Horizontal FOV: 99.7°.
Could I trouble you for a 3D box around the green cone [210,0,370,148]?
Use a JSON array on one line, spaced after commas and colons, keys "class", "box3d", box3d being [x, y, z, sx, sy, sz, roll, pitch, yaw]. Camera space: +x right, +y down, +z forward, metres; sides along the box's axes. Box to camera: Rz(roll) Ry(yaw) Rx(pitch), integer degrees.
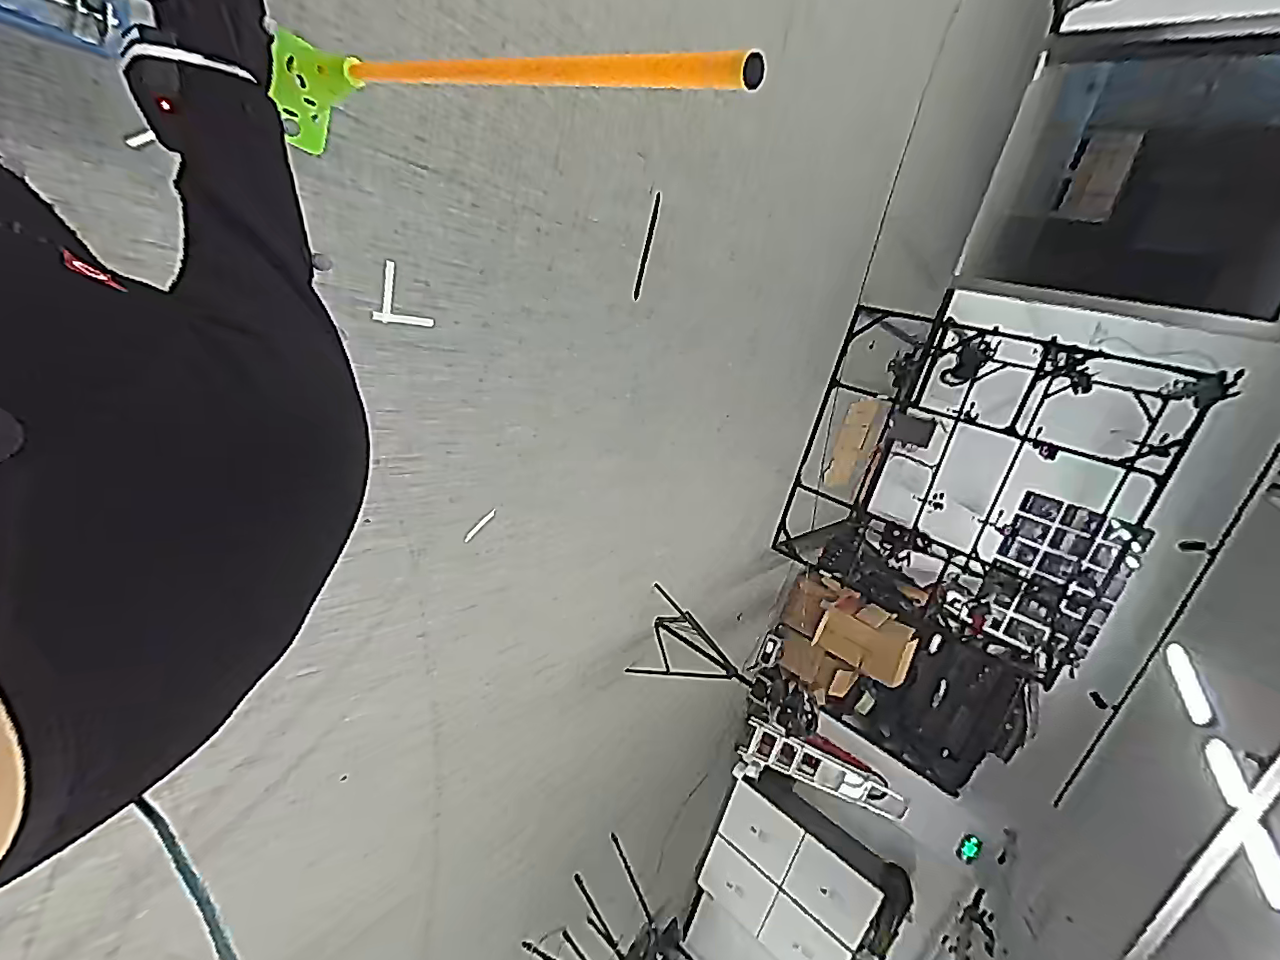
[{"class": "green cone", "box3d": [-0.622, -0.760, 1.015, 0.202, 0.368, 0.200, -1, 112, -55]}]
